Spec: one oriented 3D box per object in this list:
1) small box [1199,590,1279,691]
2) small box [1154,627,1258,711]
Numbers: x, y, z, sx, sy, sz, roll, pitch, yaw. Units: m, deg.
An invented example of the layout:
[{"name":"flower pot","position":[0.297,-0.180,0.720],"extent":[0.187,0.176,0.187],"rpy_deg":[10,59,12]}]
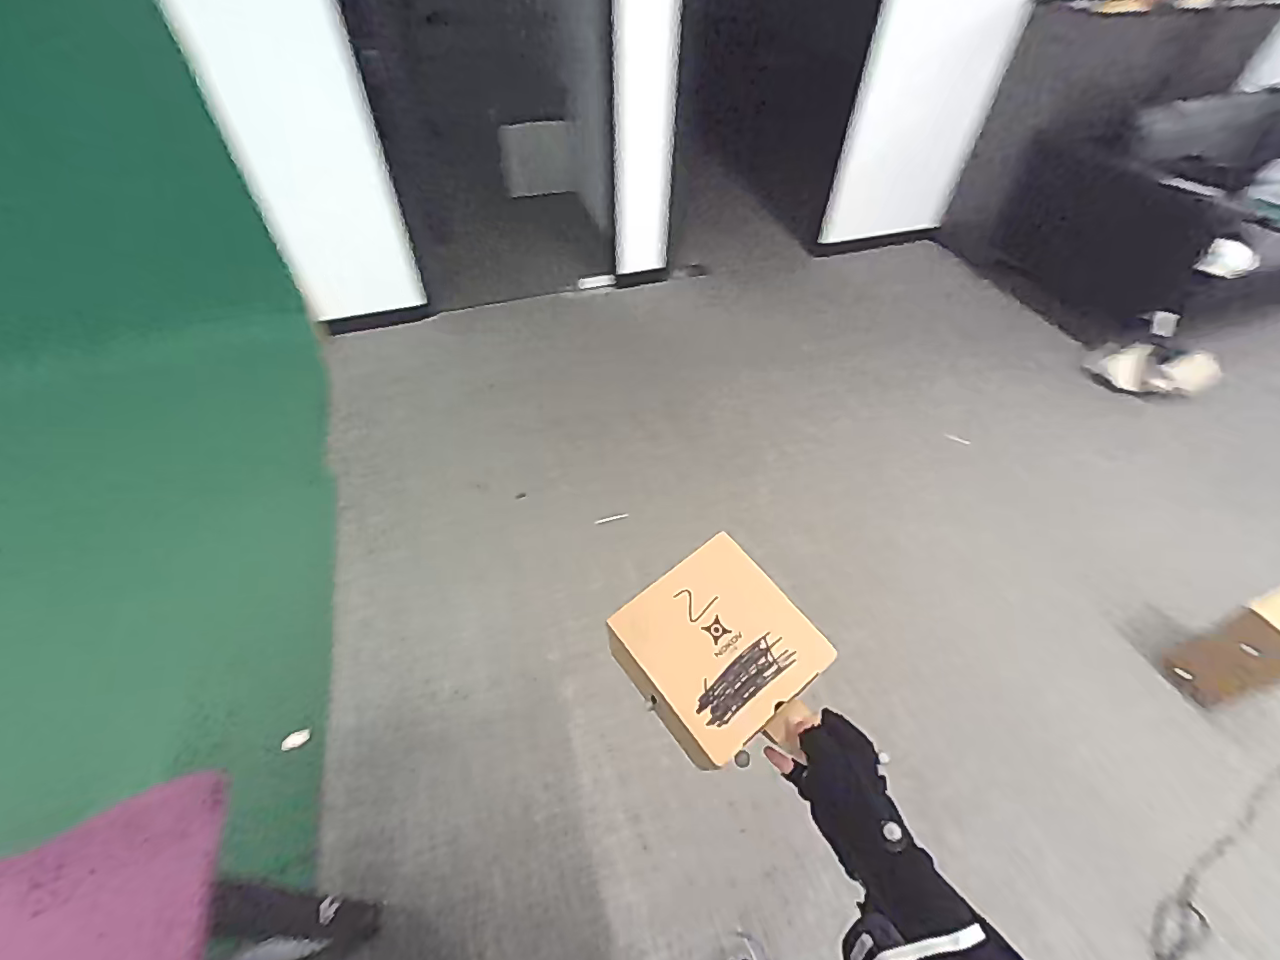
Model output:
[{"name":"small box","position":[1.558,0.395,1.332],"extent":[0.179,0.176,0.168],"rpy_deg":[-14,50,-14]},{"name":"small box","position":[1.572,0.497,1.461],"extent":[0.179,0.176,0.168],"rpy_deg":[-12,49,-11]}]
